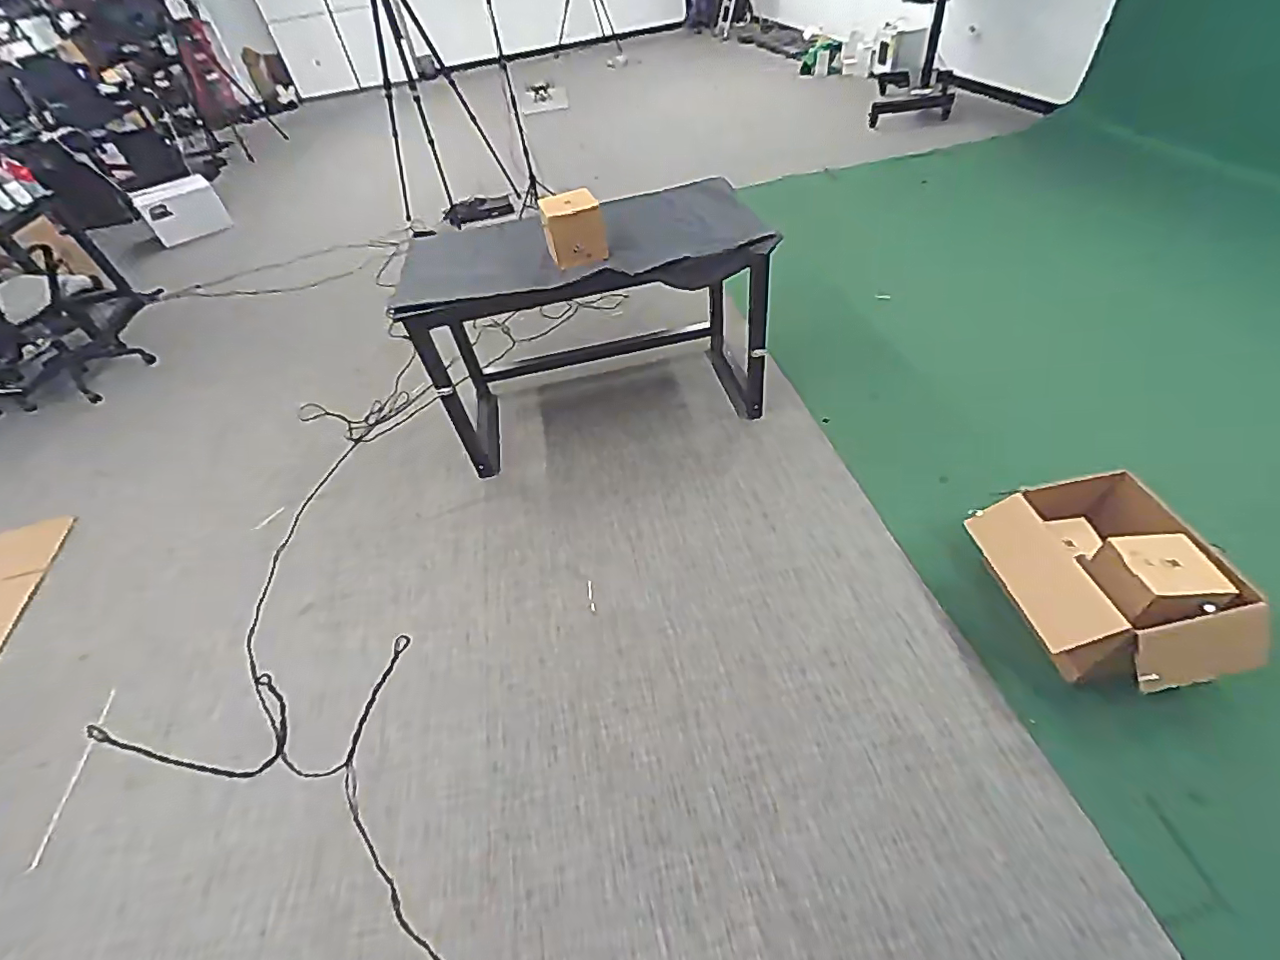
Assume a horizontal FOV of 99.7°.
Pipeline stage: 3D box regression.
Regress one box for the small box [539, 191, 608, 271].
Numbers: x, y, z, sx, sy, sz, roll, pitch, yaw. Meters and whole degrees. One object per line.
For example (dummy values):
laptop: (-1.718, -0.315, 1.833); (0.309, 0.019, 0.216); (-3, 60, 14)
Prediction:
small box: (-0.211, -0.792, 1.722); (0.168, 0.176, 0.179); (-18, 47, -8)
